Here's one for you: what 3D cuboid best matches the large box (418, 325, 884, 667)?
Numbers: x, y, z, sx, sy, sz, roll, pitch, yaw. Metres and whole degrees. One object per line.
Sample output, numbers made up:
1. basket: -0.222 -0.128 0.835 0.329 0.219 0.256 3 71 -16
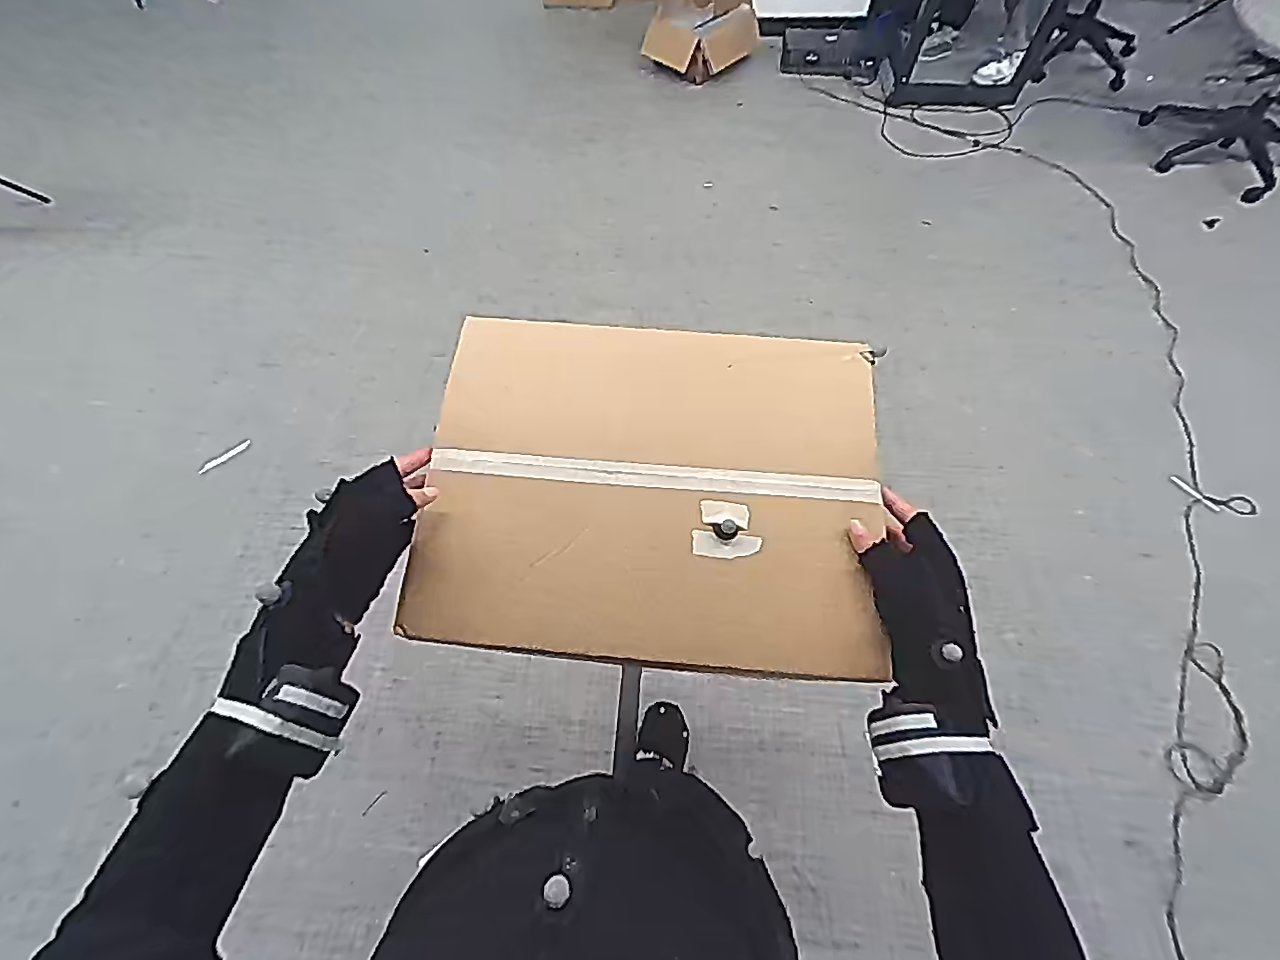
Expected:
1. large box: 0.016 0.045 0.643 0.408 0.320 0.320 5 71 2
